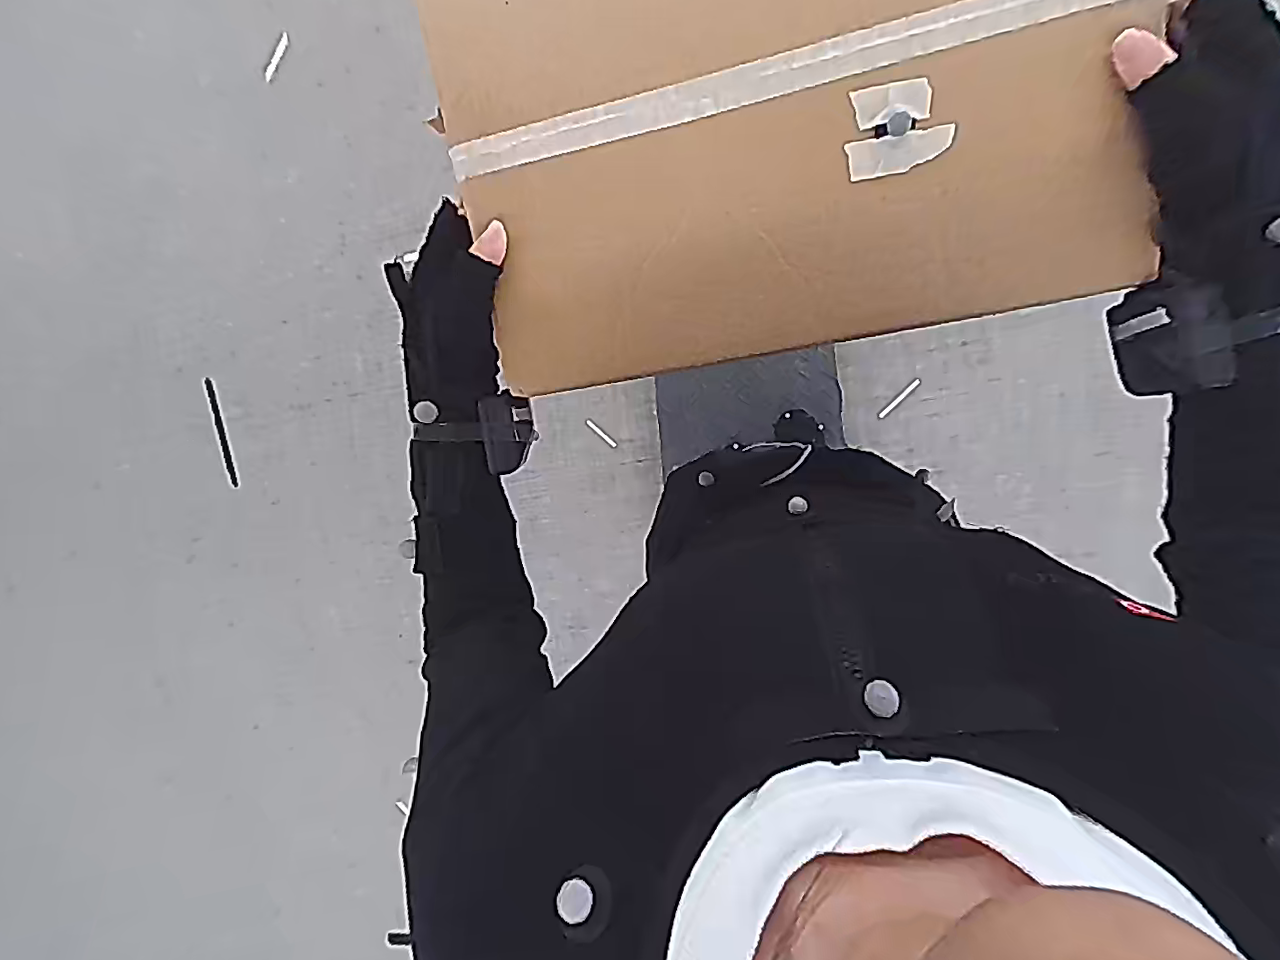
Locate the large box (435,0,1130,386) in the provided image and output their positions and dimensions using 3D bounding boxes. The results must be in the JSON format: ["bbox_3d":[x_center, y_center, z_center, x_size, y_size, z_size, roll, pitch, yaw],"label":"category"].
[{"bbox_3d":[0.097,-0.279,0.478,0.408,0.320,0.320,-8,103,10],"label":"large box"}]
